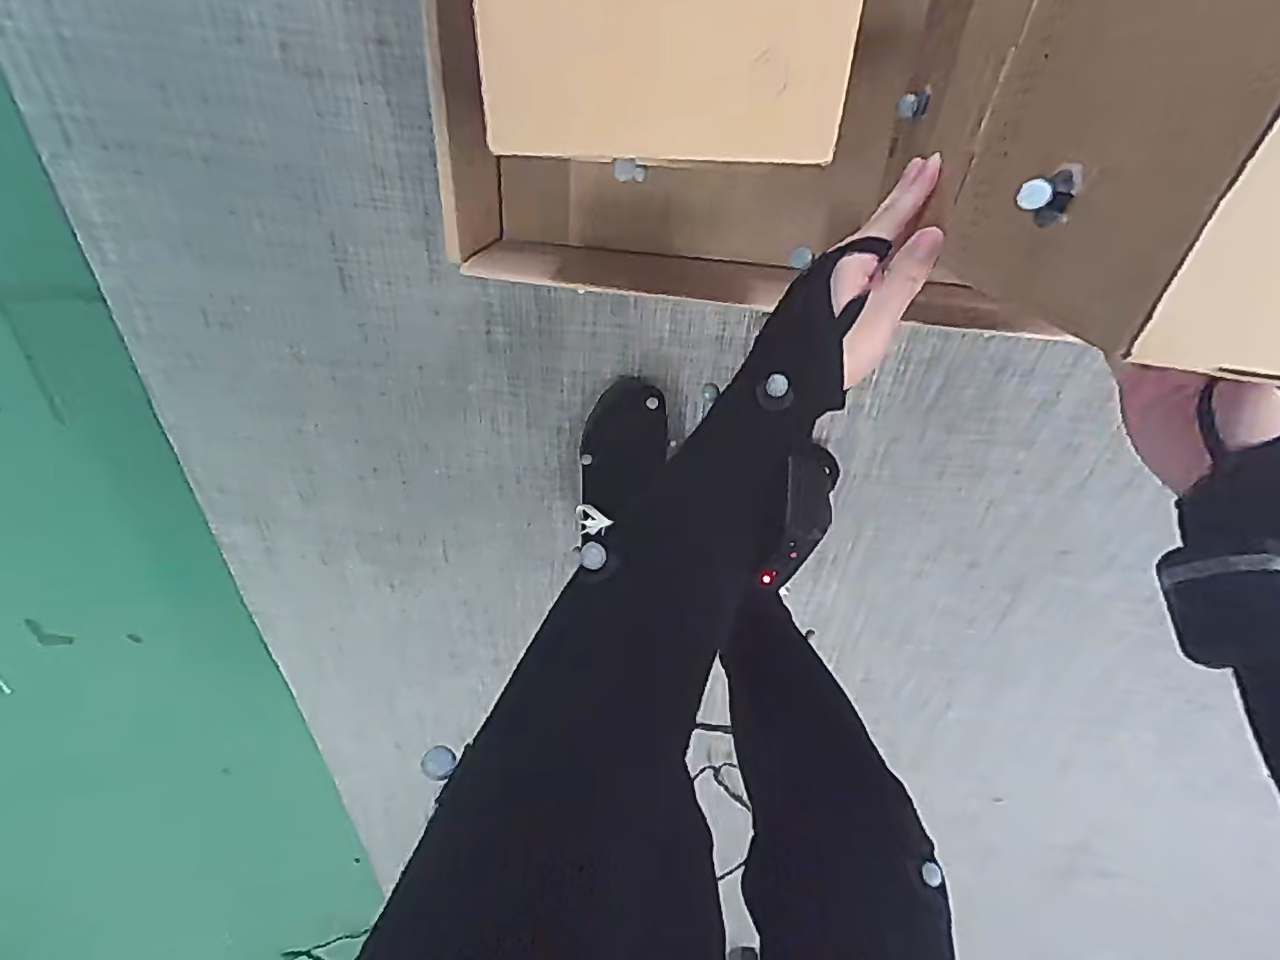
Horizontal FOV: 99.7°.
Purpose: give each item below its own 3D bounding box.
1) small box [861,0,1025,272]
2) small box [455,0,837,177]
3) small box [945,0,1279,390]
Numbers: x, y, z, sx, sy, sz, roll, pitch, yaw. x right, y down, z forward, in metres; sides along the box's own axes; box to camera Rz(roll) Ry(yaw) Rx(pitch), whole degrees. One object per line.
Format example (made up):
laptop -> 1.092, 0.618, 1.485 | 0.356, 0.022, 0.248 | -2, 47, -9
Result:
small box -> 0.269, -0.226, 0.345 | 0.179, 0.176, 0.168 | 8, 122, 2
small box -> 0.008, -0.265, 0.282 | 0.168, 0.176, 0.179 | 2, 122, 2
small box -> 0.249, -0.143, 0.206 | 0.168, 0.176, 0.179 | 8, 122, 1
